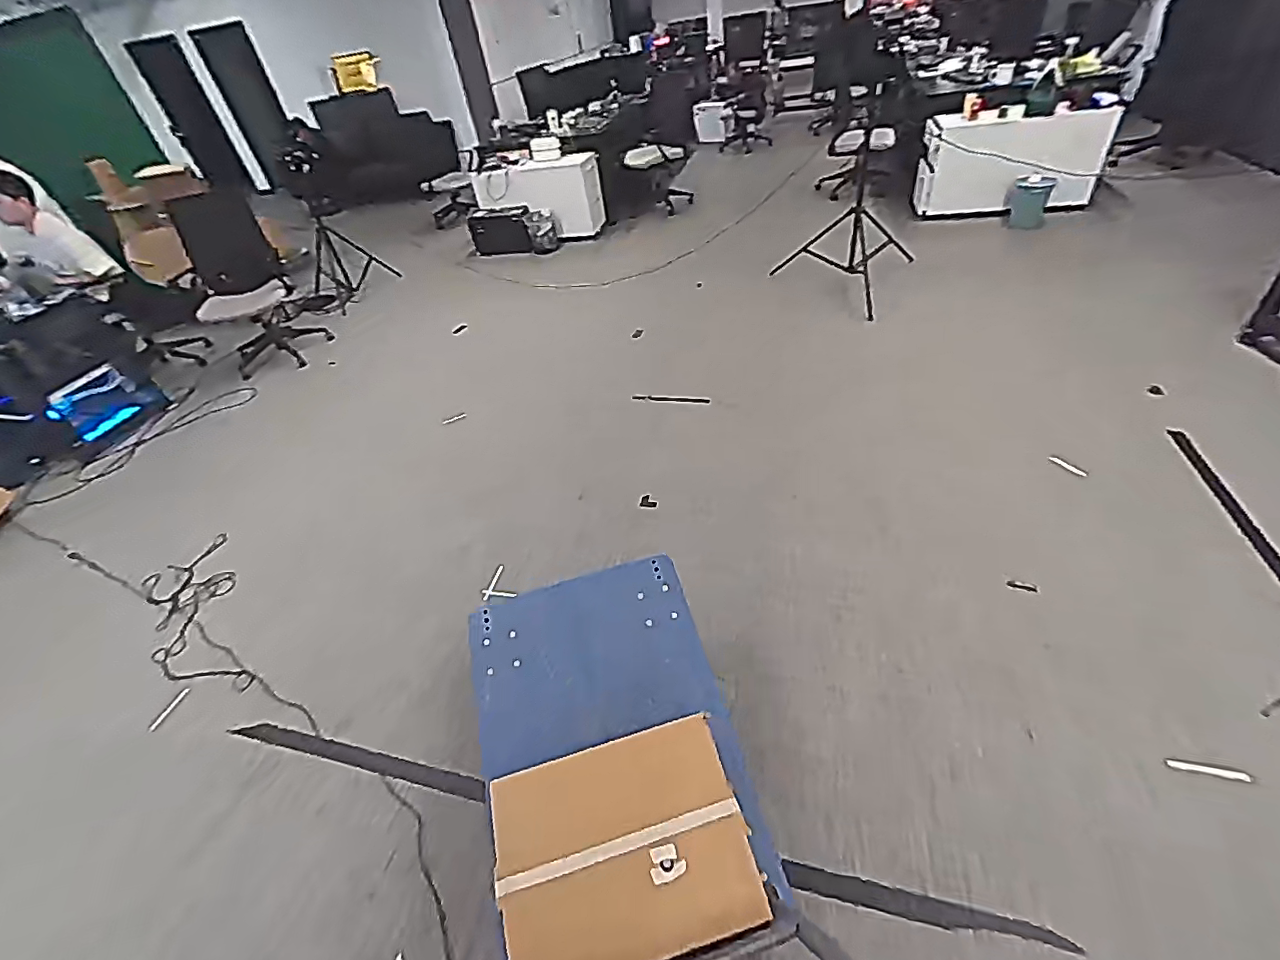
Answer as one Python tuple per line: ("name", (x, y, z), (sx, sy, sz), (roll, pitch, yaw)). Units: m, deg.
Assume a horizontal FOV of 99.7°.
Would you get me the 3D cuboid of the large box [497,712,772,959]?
("large box", (-0.015, 0.696, 1.021), (0.408, 0.320, 0.320), (-16, 55, -7))
